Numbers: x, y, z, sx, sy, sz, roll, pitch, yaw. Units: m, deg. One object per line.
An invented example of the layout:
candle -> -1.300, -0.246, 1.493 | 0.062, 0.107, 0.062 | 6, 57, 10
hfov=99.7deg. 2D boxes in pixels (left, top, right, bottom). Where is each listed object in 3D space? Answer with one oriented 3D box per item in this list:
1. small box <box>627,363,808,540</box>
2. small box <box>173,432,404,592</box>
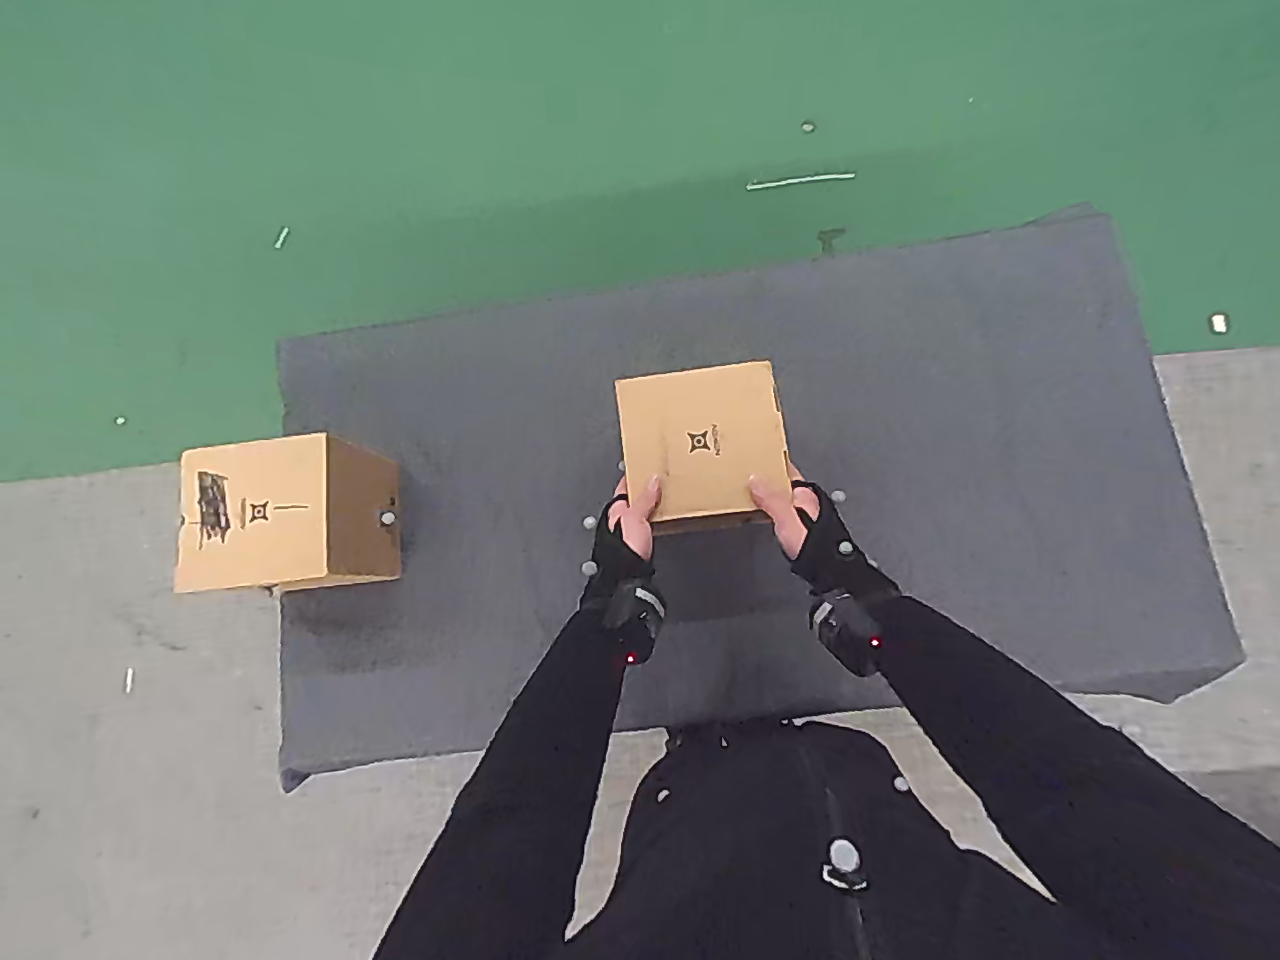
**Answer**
small box -> 0.085, -0.024, 0.652 | 0.179, 0.176, 0.168 | -8, 78, 4
small box -> -0.416, 0.049, 0.668 | 0.179, 0.176, 0.168 | -6, 80, 1
